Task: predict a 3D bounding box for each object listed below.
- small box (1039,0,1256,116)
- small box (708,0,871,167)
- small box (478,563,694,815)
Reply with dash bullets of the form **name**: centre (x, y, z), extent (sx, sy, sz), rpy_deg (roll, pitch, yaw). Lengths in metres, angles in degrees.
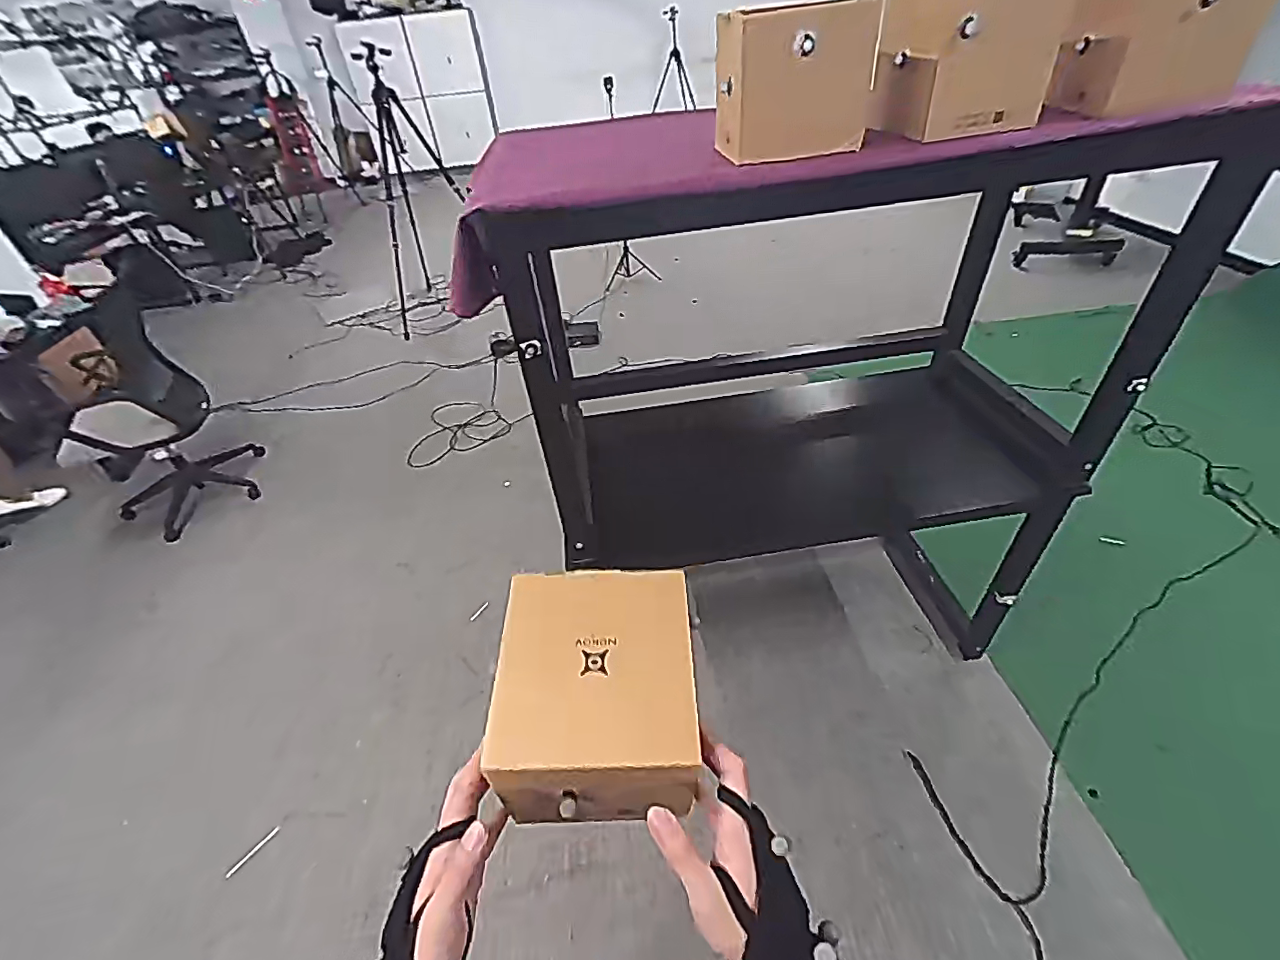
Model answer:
- **small box**: centre (0.715, -0.636, 0.771), extent (0.179, 0.176, 0.168), rpy_deg (-7, 42, 2)
- **small box**: centre (0.196, -0.549, 0.754), extent (0.179, 0.176, 0.168), rpy_deg (-7, 40, 0)
- **small box**: centre (-0.038, 0.200, 0.511), extent (0.168, 0.176, 0.179), rpy_deg (-2, 43, 0)
